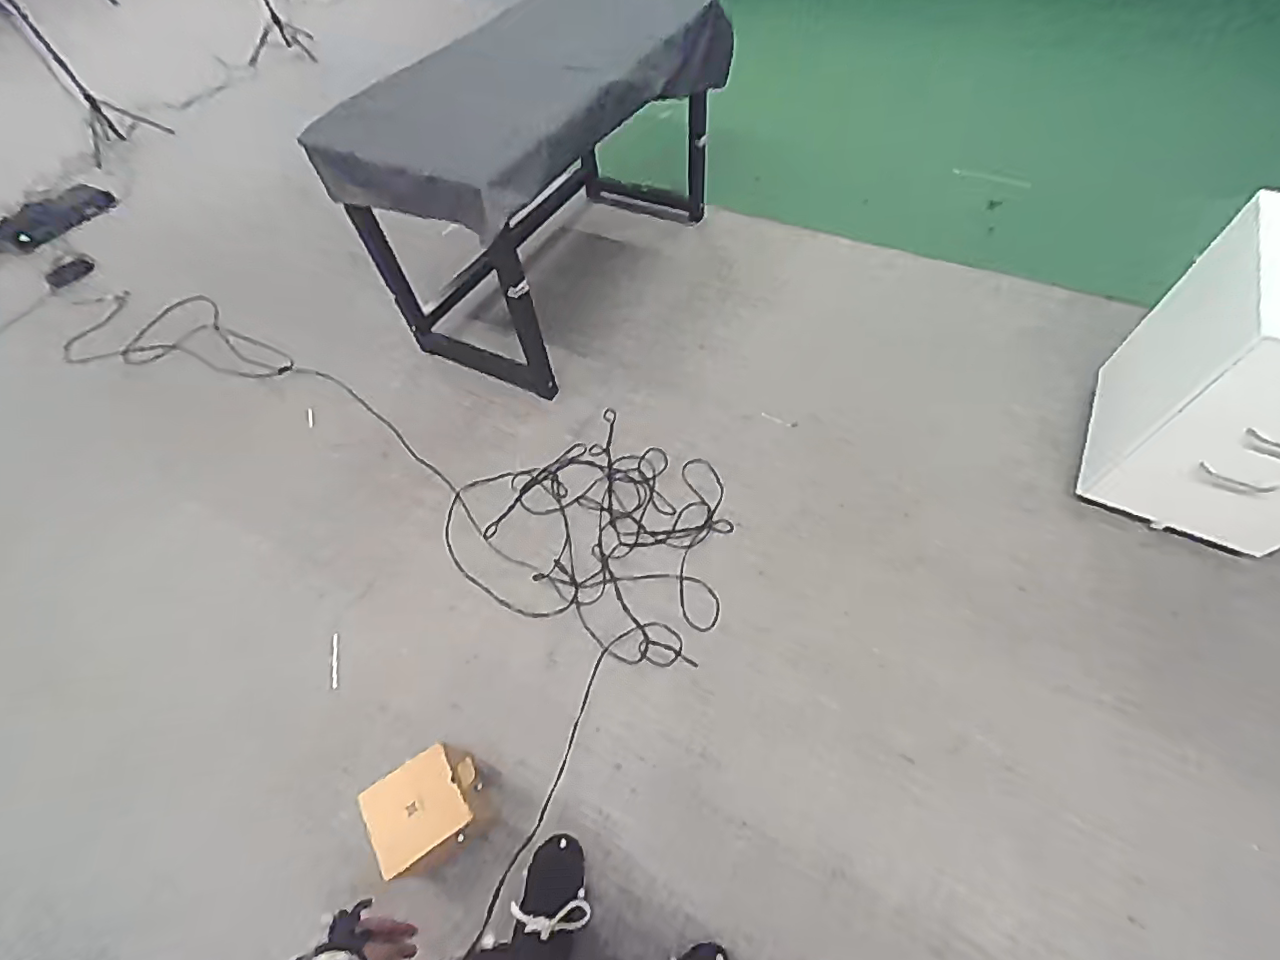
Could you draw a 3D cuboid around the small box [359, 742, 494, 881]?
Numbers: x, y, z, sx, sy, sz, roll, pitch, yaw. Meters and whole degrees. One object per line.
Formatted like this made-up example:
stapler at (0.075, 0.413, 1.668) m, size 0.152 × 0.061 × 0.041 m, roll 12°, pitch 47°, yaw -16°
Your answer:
small box at (-0.425, 0.669, 1.094) m, size 0.179 × 0.176 × 0.168 m, roll -31°, pitch 60°, yaw -16°
